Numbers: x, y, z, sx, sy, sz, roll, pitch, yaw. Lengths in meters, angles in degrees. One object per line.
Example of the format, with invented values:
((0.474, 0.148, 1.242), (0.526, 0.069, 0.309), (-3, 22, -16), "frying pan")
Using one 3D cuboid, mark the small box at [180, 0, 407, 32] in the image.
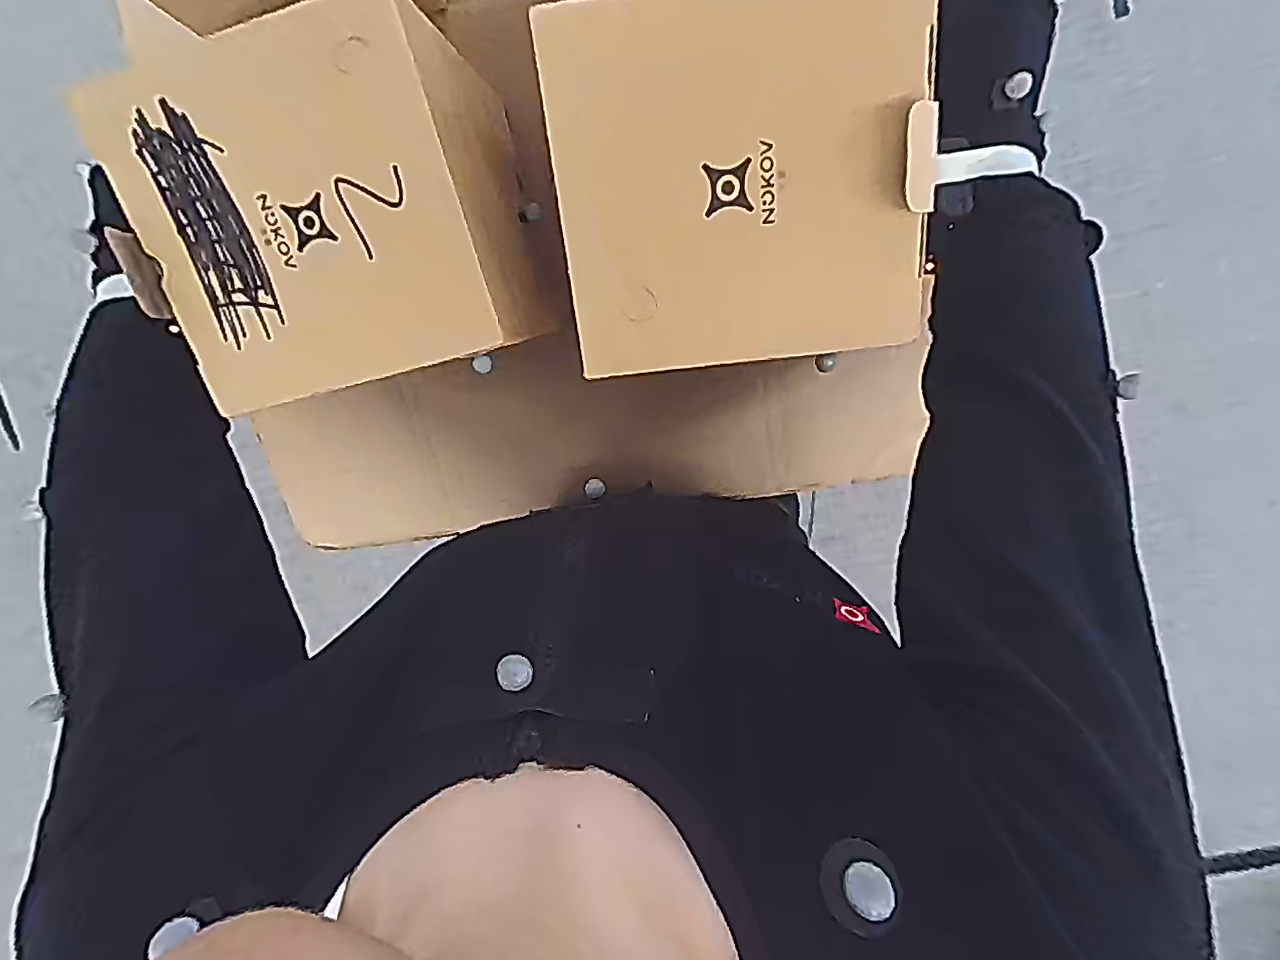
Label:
((-0.245, -0.399, 0.302), (0.168, 0.176, 0.179), (-9, 99, 7), "small box")
